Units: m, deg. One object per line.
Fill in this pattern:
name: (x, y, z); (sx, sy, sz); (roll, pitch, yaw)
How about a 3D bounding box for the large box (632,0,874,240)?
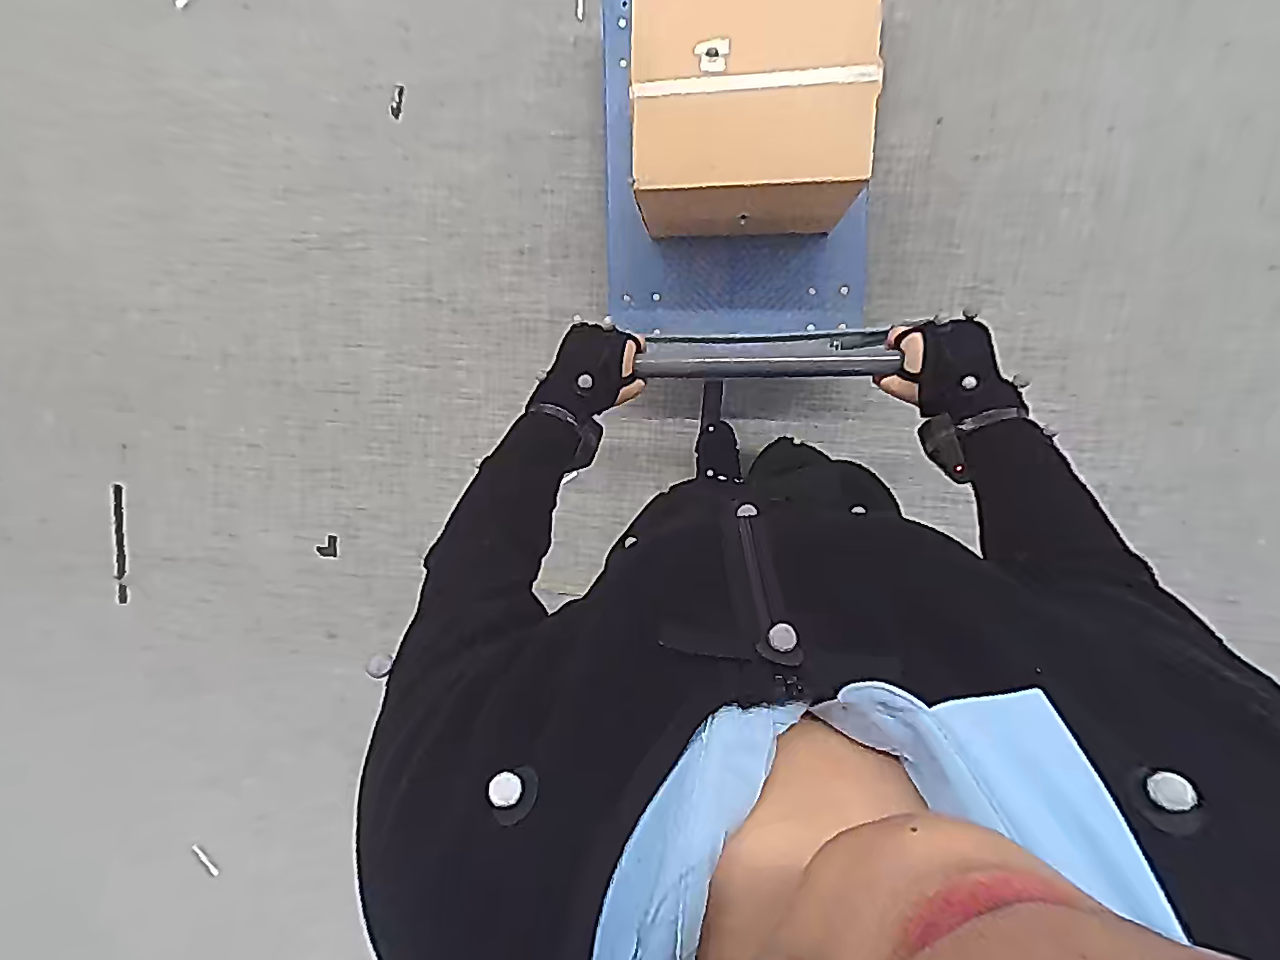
large box: (0.207, -0.680, 1.064); (0.408, 0.320, 0.320); (1, 98, 8)
